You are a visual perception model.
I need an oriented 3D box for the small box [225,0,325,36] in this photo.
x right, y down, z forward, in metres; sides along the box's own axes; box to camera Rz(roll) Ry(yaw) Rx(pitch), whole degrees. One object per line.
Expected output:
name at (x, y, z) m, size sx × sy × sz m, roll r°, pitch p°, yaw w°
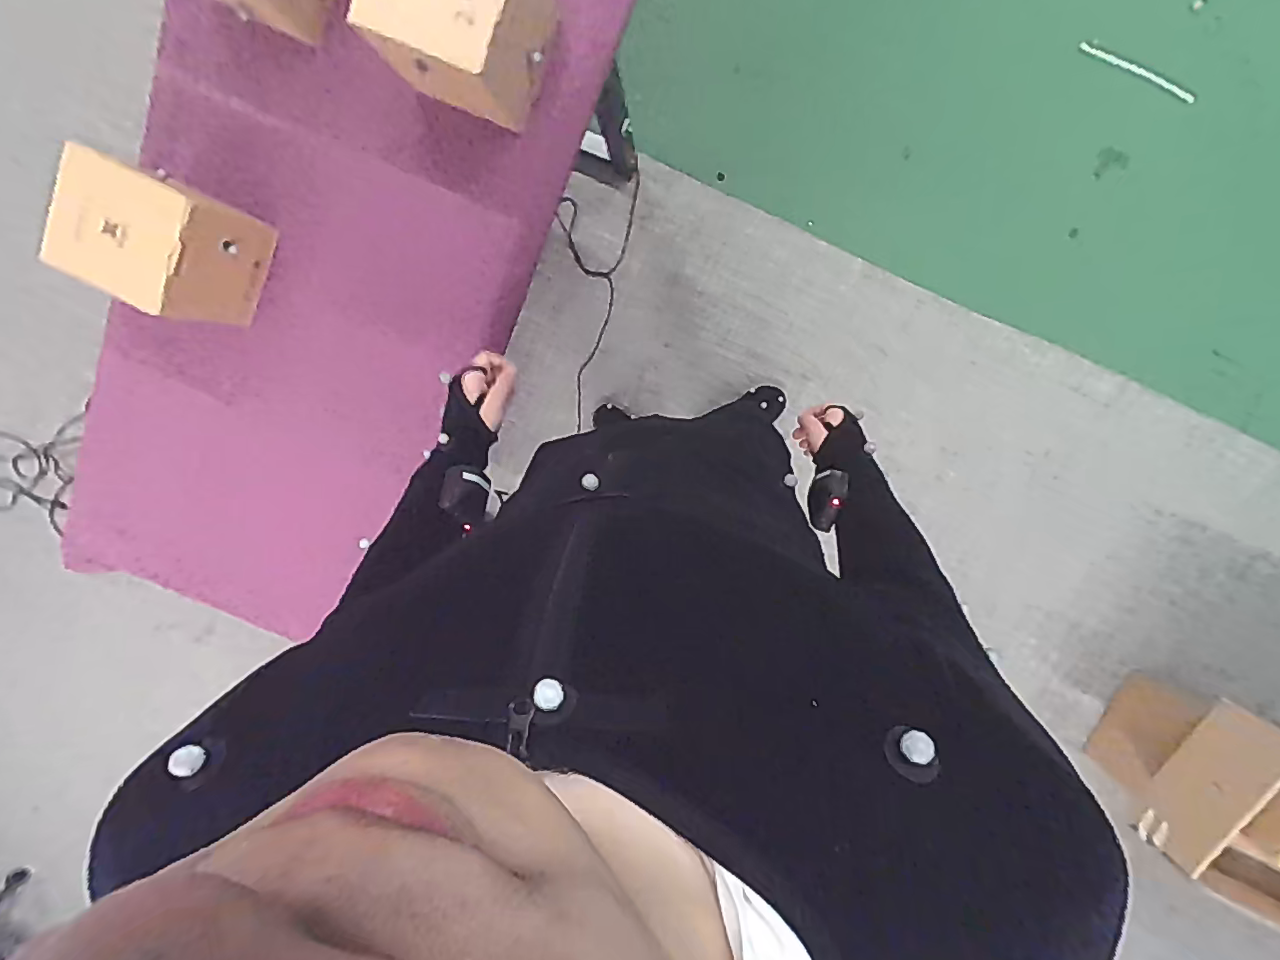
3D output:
small box at (-0.523, -0.732, 0.701) m, size 0.179 × 0.176 × 0.168 m, roll 24°, pitch 102°, yaw -4°

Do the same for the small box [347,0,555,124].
small box at (-0.233, -0.607, 0.704) m, size 0.179 × 0.176 × 0.168 m, roll 24°, pitch 103°, yaw -1°

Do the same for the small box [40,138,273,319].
small box at (-0.689, -0.349, 0.791) m, size 0.179 × 0.176 × 0.168 m, roll 26°, pitch 101°, yaw -2°
